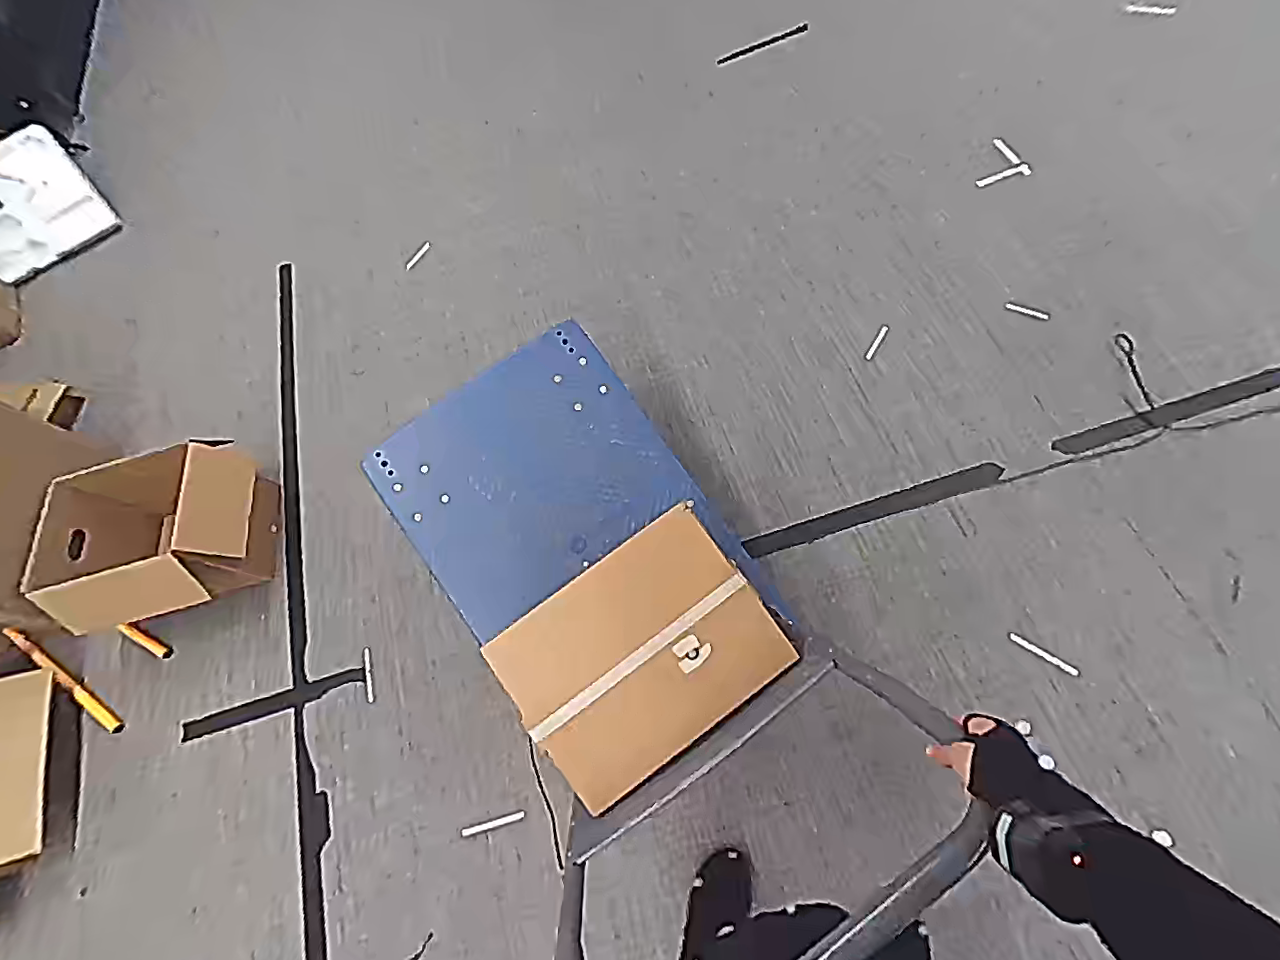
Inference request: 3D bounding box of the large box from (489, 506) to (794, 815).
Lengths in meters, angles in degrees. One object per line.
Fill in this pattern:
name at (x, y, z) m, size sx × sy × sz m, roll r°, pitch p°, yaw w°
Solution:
large box at (-0.001, 0.301, 1.008) m, size 0.408 × 0.320 × 0.320 m, roll -36°, pitch 86°, yaw -6°
